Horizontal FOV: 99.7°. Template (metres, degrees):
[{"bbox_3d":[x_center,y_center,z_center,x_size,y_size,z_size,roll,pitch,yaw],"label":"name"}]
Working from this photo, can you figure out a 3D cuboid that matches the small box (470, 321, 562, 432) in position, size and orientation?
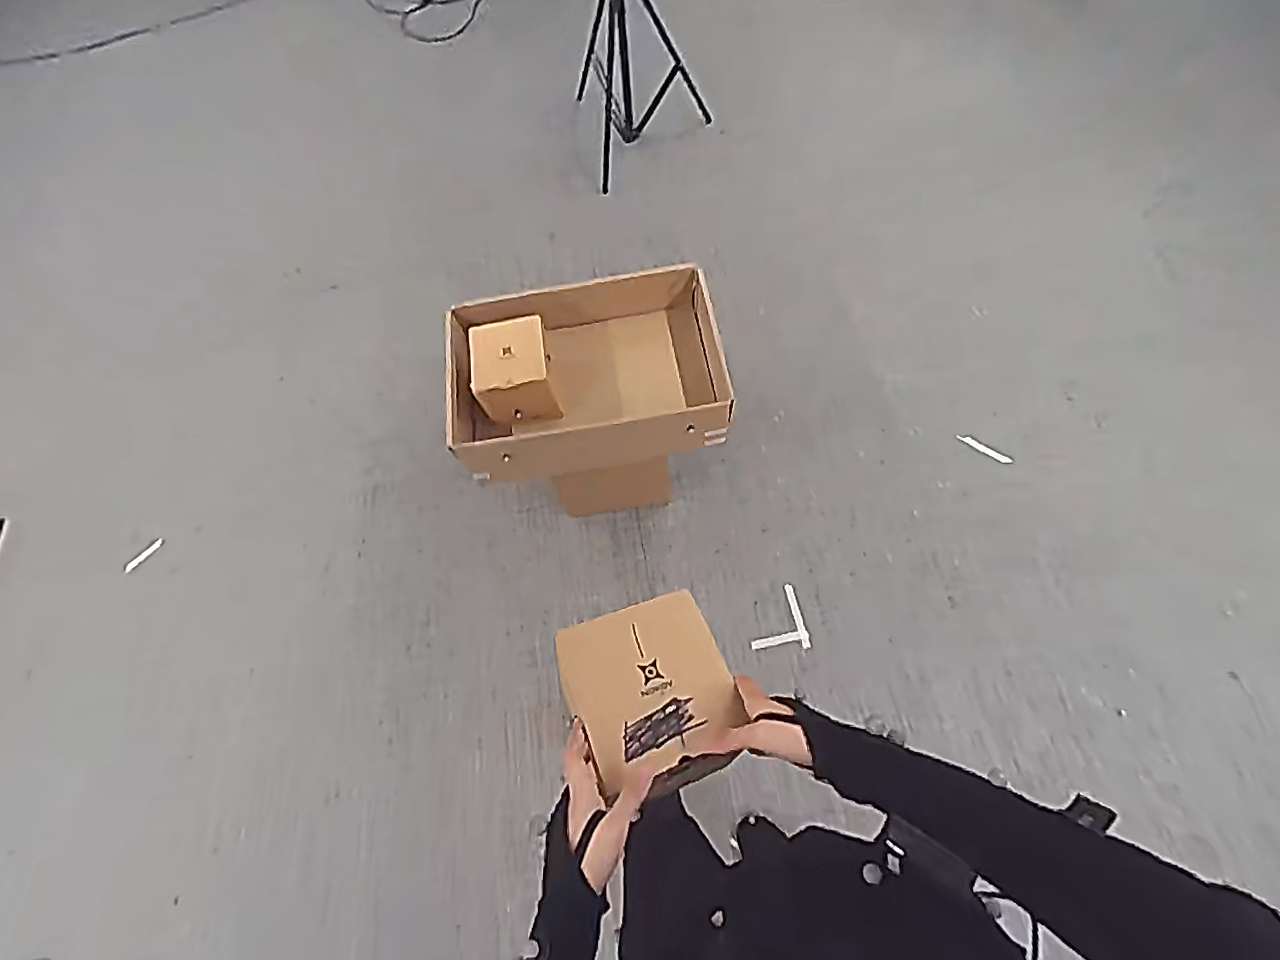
[{"bbox_3d":[-0.285,-0.236,1.256,0.168,0.176,0.179,-11,67,0],"label":"small box"}]

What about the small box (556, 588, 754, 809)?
[{"bbox_3d":[0.007,0.260,0.632,0.168,0.176,0.179,-15,54,-16],"label":"small box"}]
